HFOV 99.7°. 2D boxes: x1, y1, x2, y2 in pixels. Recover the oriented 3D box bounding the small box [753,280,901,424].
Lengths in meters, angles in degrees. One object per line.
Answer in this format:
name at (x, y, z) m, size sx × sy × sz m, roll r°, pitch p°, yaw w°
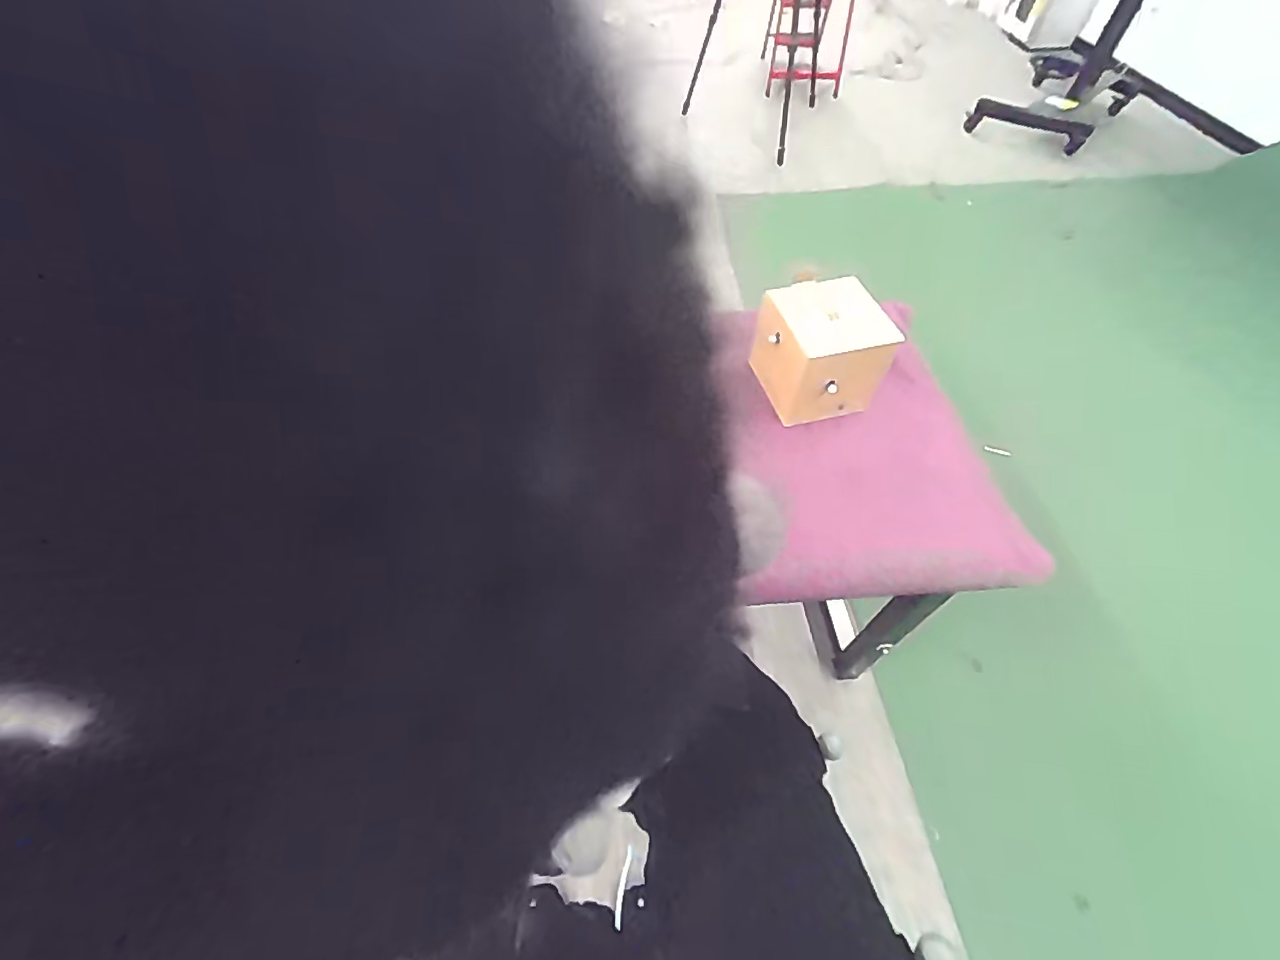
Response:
small box at (0.311, -0.215, 0.941) m, size 0.168 × 0.176 × 0.179 m, roll -12°, pitch 55°, yaw -8°
